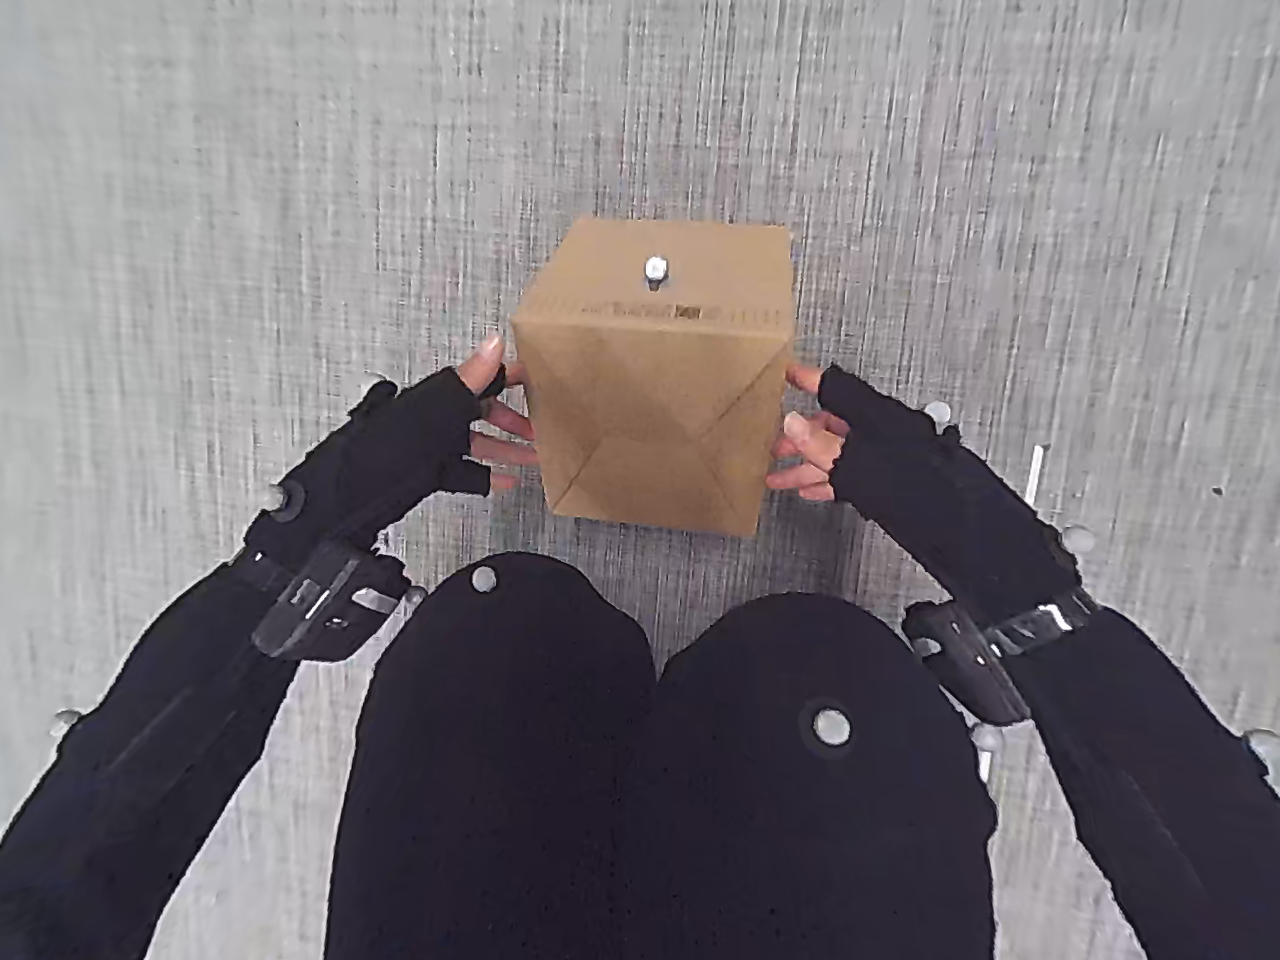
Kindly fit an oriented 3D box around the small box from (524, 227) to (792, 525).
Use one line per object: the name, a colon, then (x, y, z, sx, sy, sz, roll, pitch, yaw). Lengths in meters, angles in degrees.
small box: (0.021, -0.077, 0.424, 0.168, 0.176, 0.179, 5, 136, 7)
